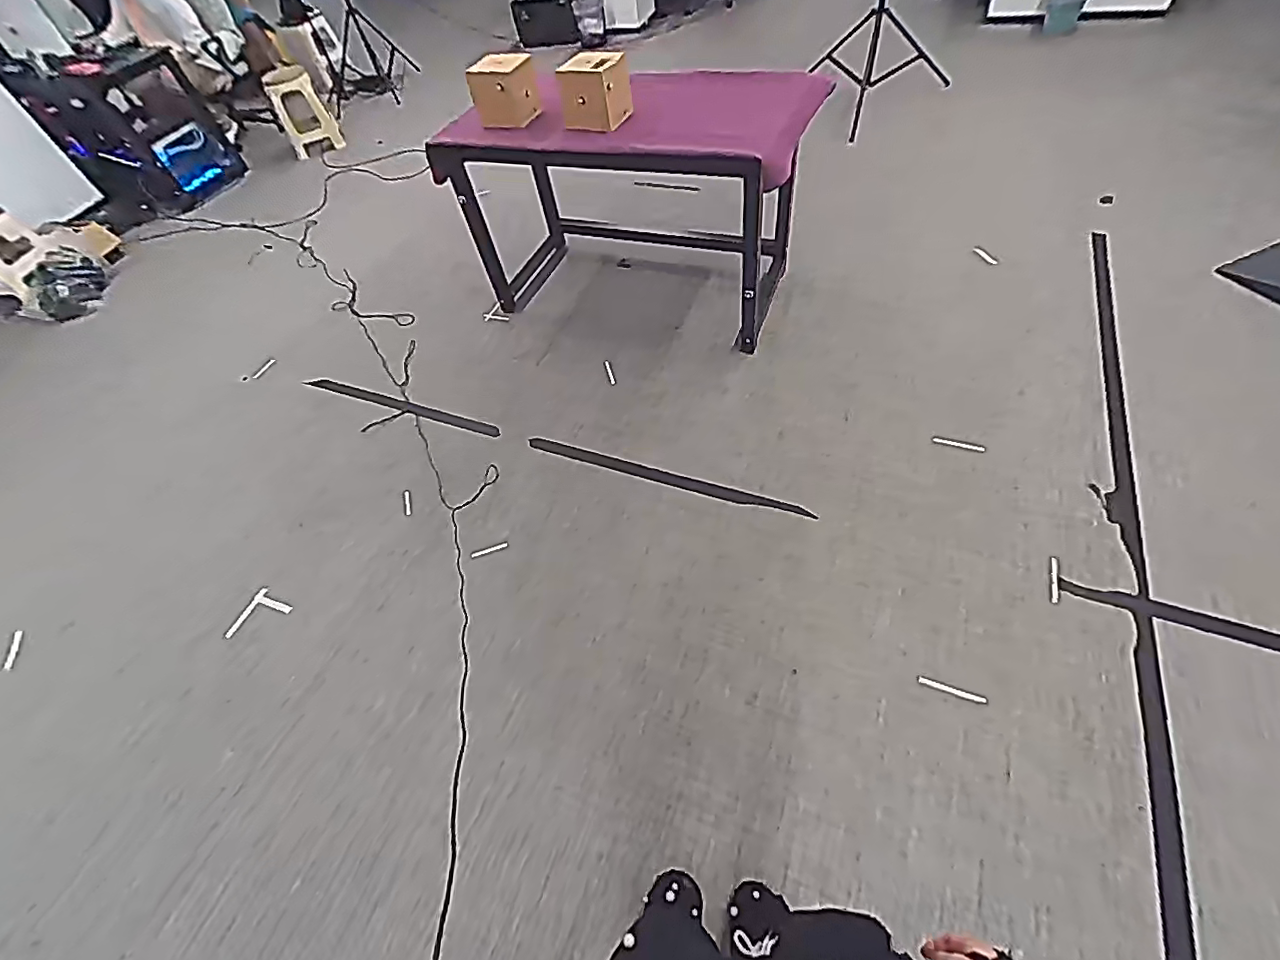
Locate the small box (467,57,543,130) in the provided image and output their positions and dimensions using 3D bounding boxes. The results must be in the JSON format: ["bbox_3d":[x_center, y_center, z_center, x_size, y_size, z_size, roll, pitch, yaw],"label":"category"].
[{"bbox_3d":[-0.459,-1.334,1.871,0.179,0.176,0.168,12,55,18],"label":"small box"}]
